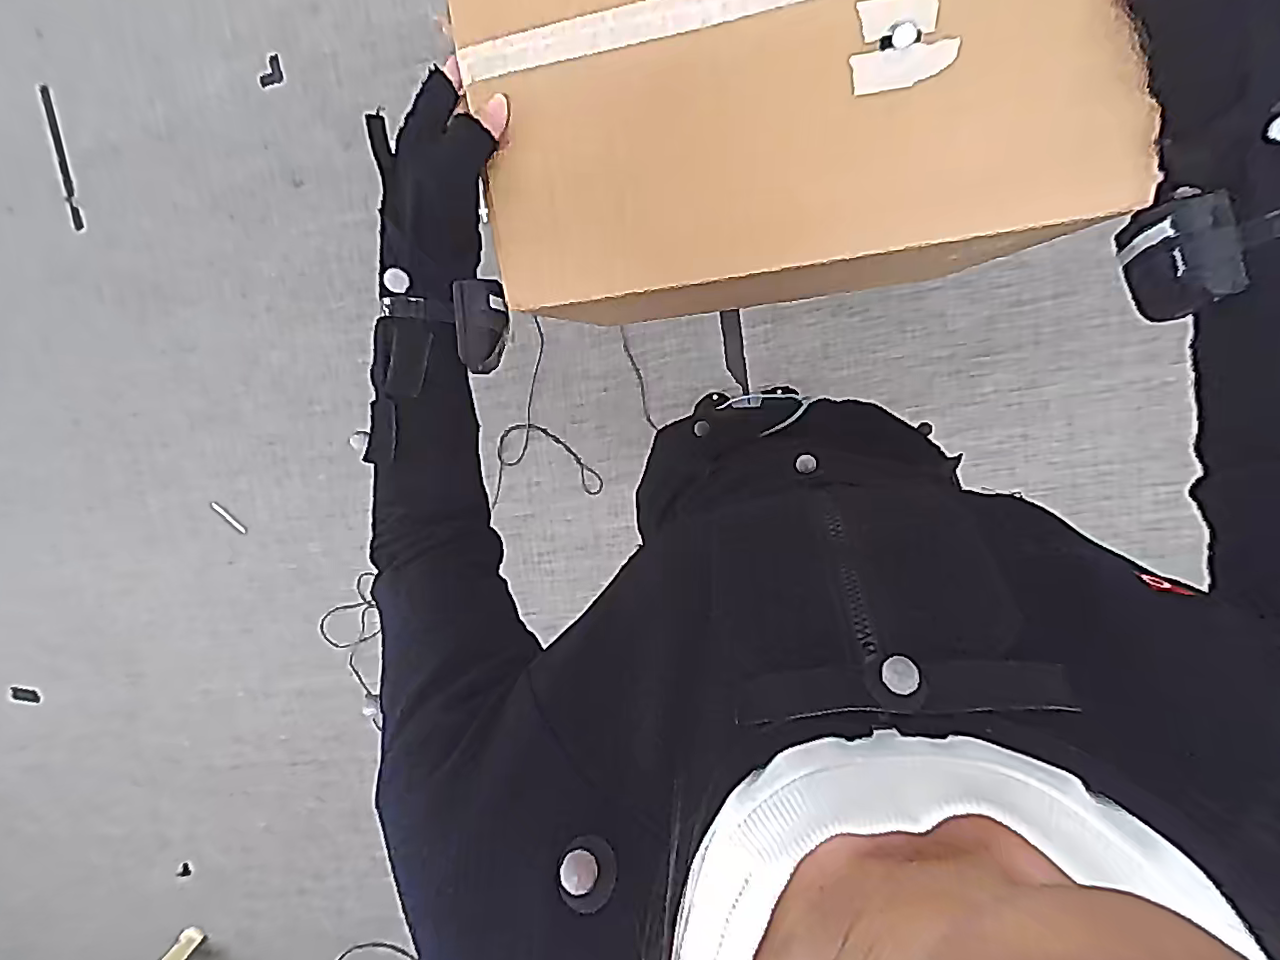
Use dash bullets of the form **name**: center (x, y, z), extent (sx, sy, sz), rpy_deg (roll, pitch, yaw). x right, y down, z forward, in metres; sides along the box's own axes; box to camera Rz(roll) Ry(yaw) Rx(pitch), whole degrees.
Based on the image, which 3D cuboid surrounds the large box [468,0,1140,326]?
- **large box**: center (0.105, -0.332, 0.477), extent (0.408, 0.320, 0.320), rpy_deg (-6, 103, 9)
